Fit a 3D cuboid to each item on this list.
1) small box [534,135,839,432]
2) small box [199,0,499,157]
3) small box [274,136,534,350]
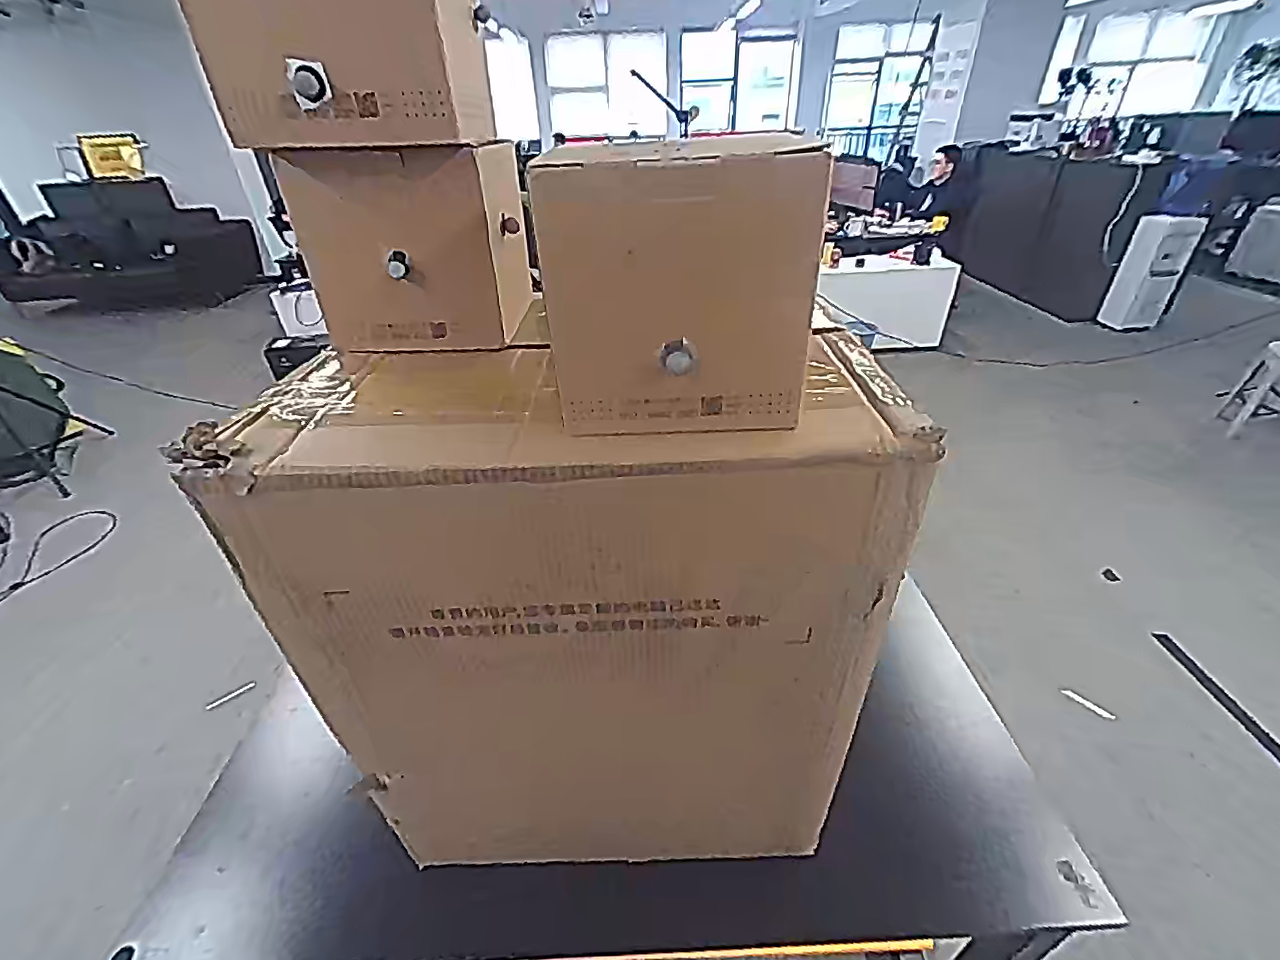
[{"bbox_3d":[0.030,-0.148,0.399,0.168,0.176,0.179,-2,35,3],"label":"small box"},{"bbox_3d":[-0.212,-0.351,0.416,0.168,0.176,0.179,-4,34,-2],"label":"small box"},{"bbox_3d":[-0.205,-0.235,0.535,0.168,0.176,0.179,-1,34,0],"label":"small box"}]
